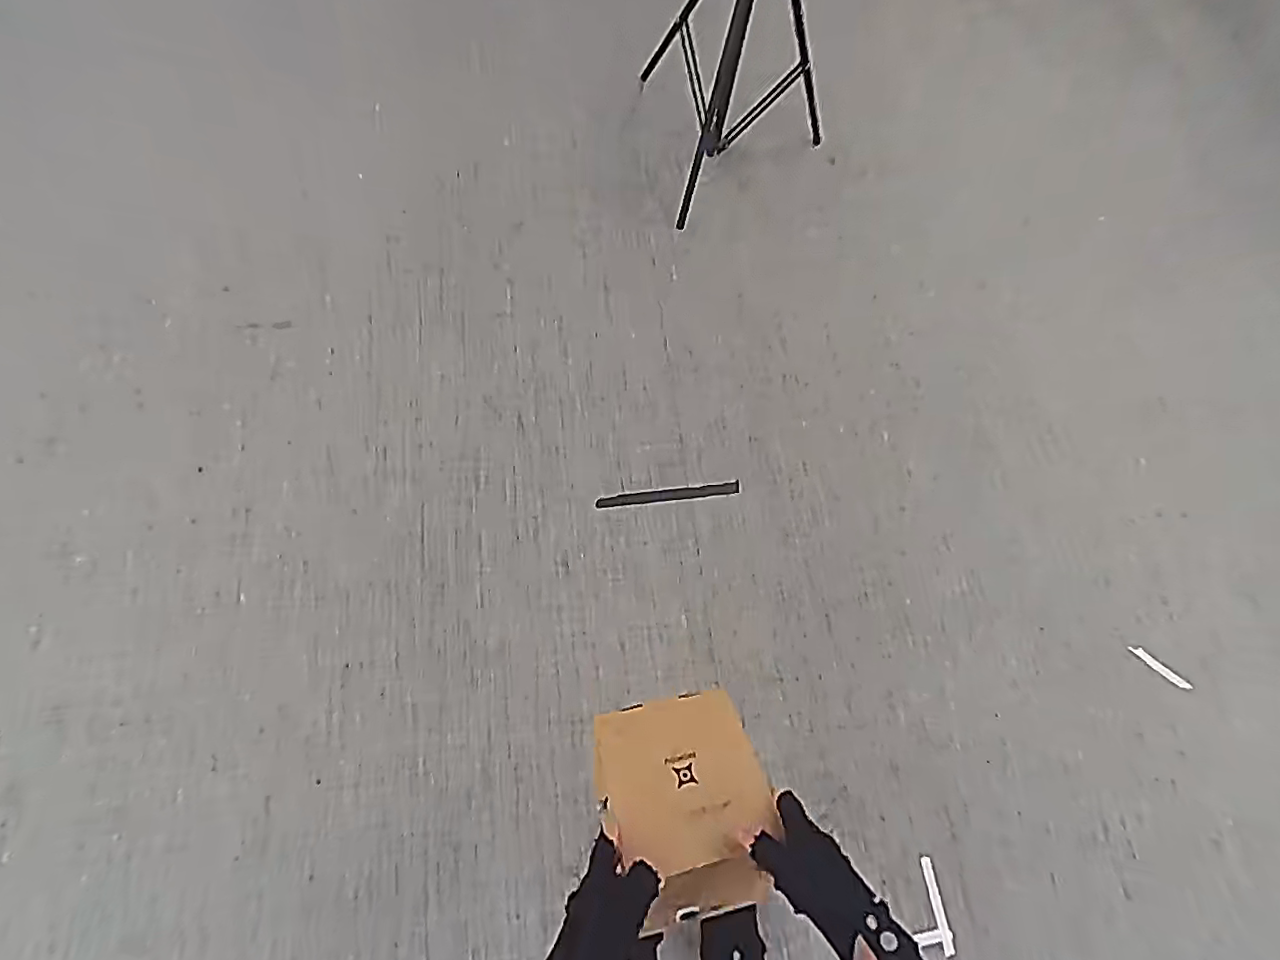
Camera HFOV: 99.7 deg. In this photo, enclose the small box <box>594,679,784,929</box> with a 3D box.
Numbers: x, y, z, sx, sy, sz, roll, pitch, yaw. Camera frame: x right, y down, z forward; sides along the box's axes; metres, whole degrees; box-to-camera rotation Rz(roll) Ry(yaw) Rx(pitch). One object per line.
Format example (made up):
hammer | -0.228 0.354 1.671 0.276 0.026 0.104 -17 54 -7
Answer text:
small box | 0.042 0.368 0.626 0.168 0.176 0.179 -8 36 -12
